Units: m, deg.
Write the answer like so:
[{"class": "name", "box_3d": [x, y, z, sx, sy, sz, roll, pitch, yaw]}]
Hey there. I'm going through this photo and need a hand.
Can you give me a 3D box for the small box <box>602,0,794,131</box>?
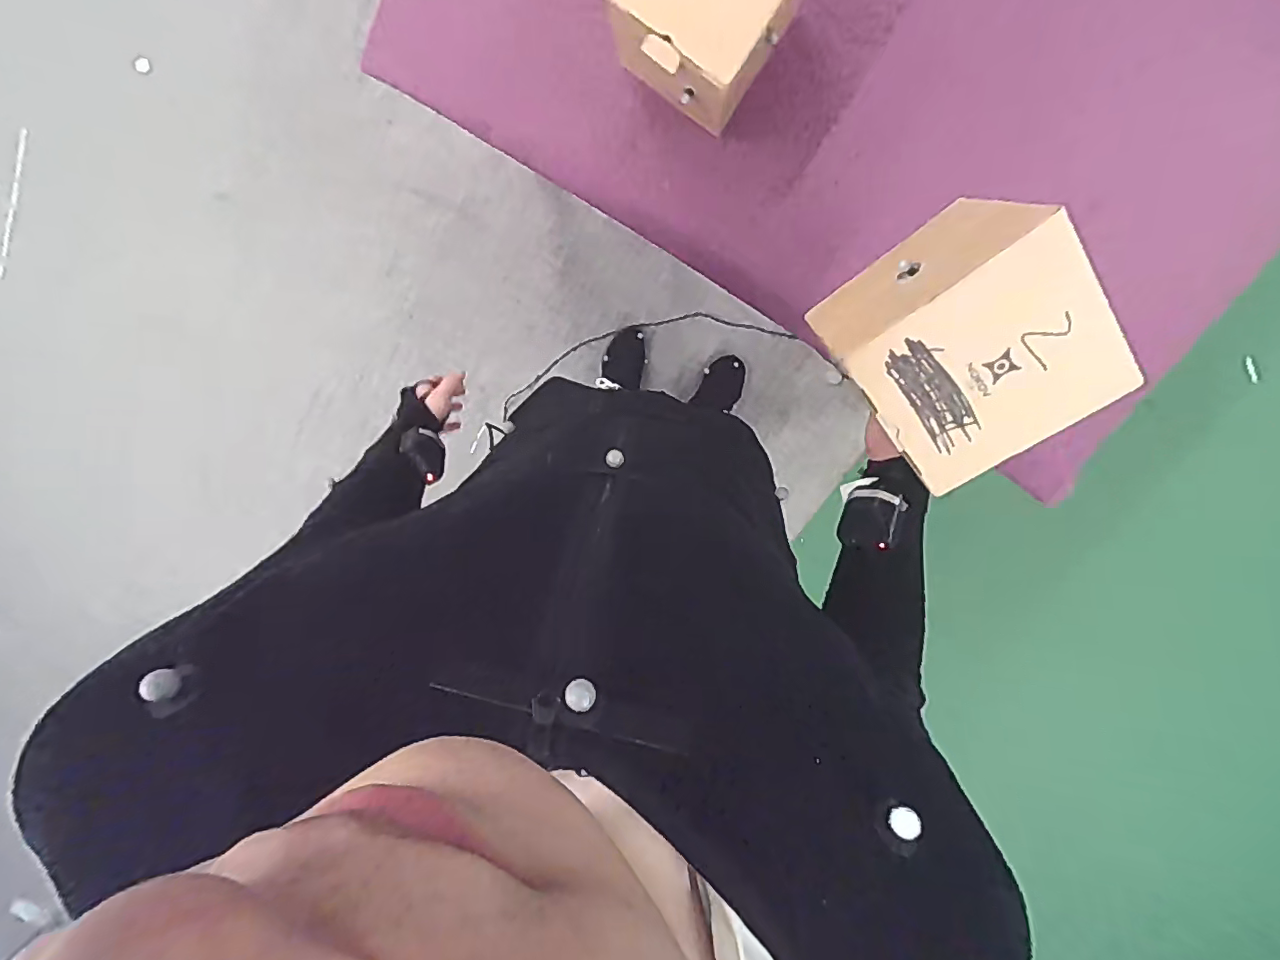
[{"class": "small box", "box_3d": [0.079, -0.567, 0.649, 0.168, 0.176, 0.179, 35, 106, -6]}]
